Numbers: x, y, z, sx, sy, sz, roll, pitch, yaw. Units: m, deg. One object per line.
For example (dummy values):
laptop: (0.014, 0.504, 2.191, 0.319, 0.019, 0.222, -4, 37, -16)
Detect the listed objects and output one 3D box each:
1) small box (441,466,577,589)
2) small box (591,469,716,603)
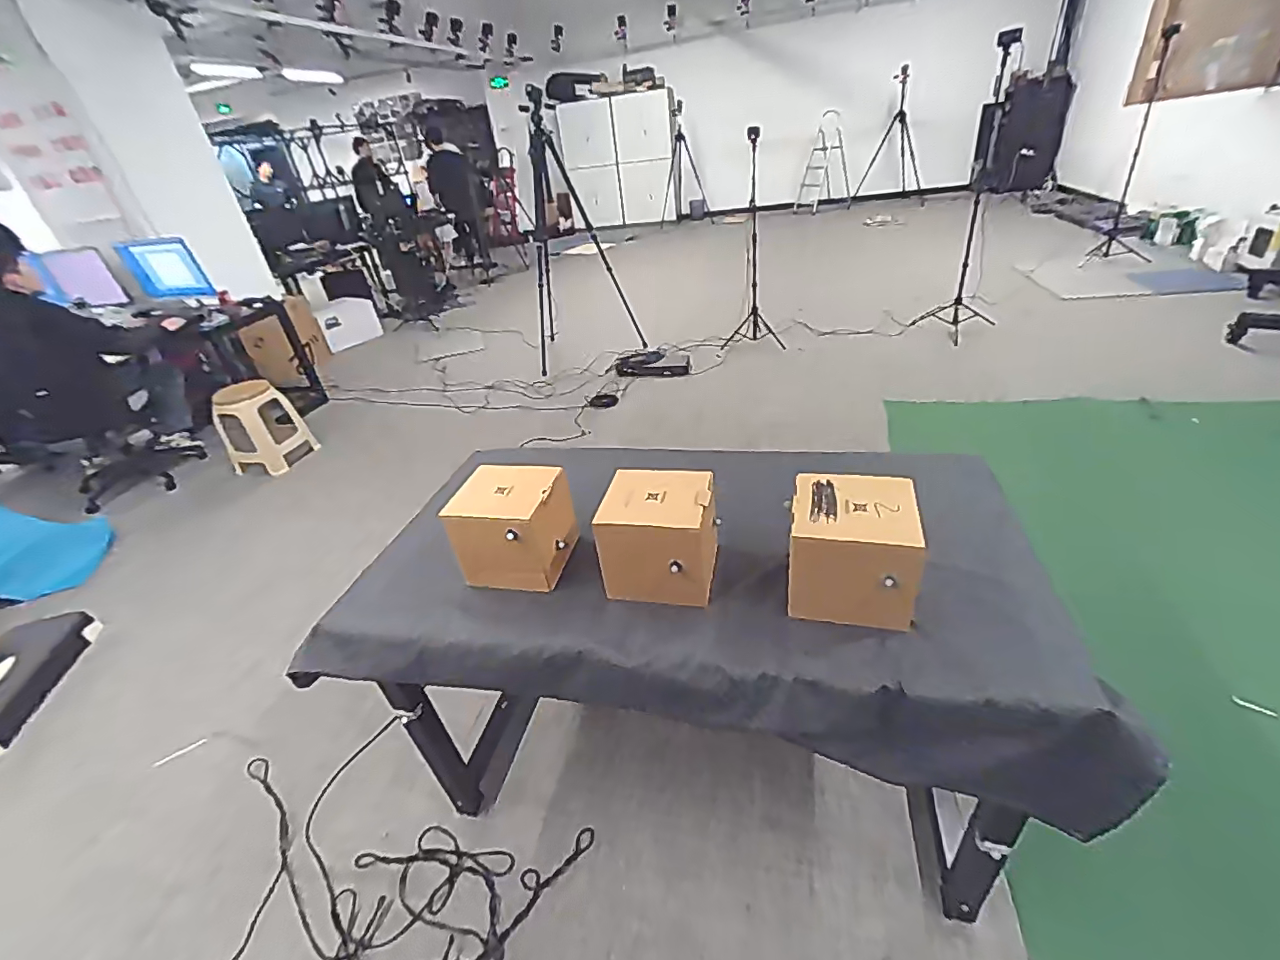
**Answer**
small box: (-0.235, 0.088, 1.015, 0.179, 0.176, 0.168, 1, 33, 14)
small box: (0.035, 0.096, 0.938, 0.179, 0.176, 0.168, 0, 32, 16)
